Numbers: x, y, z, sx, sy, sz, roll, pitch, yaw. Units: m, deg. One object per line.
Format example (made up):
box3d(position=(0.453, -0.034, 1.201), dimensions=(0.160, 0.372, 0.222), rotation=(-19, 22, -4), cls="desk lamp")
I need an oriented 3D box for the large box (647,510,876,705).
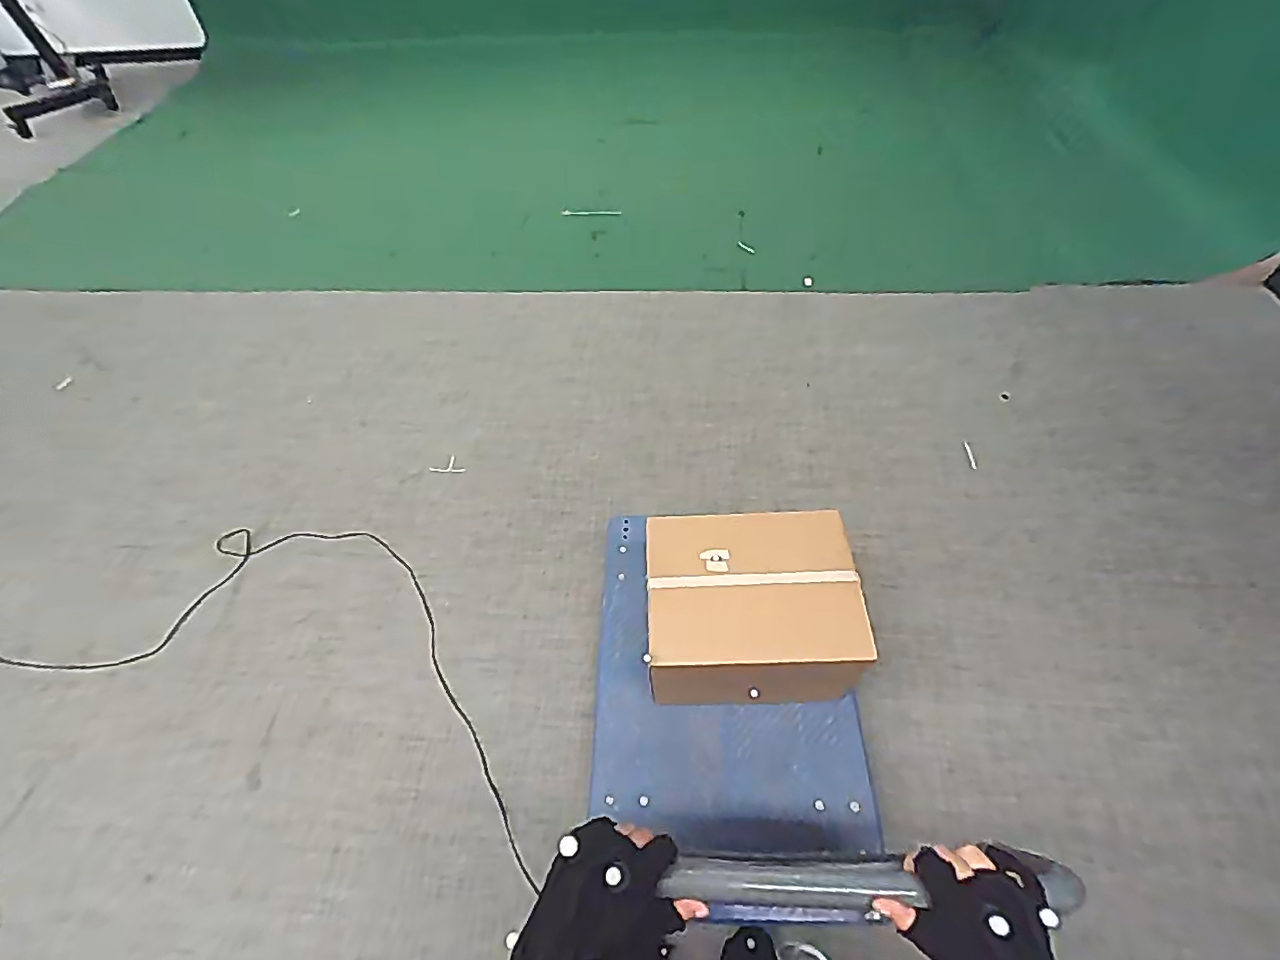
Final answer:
box3d(position=(0.231, 0.287, 1.173), dimensions=(0.408, 0.320, 0.320), rotation=(-4, 54, 2), cls="large box")
